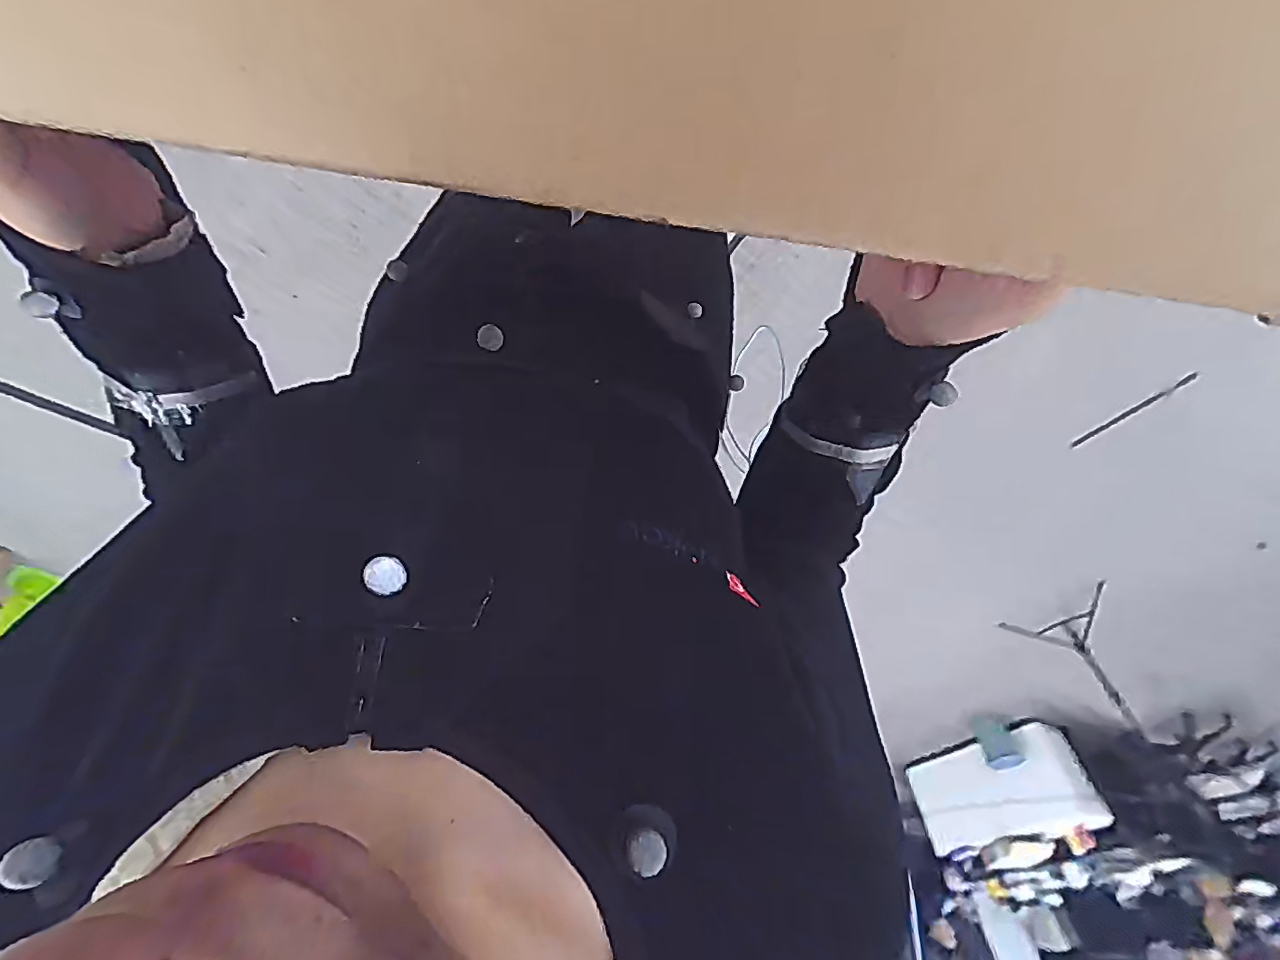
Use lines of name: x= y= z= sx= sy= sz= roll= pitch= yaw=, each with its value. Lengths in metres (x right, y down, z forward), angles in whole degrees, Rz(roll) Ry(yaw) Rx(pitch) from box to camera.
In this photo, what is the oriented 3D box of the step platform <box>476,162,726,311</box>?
step platform: x=-0.121 y=-0.687 z=1.167 sx=0.684 sy=0.204 sz=0.286 roll=34 pitch=123 yaw=-30
